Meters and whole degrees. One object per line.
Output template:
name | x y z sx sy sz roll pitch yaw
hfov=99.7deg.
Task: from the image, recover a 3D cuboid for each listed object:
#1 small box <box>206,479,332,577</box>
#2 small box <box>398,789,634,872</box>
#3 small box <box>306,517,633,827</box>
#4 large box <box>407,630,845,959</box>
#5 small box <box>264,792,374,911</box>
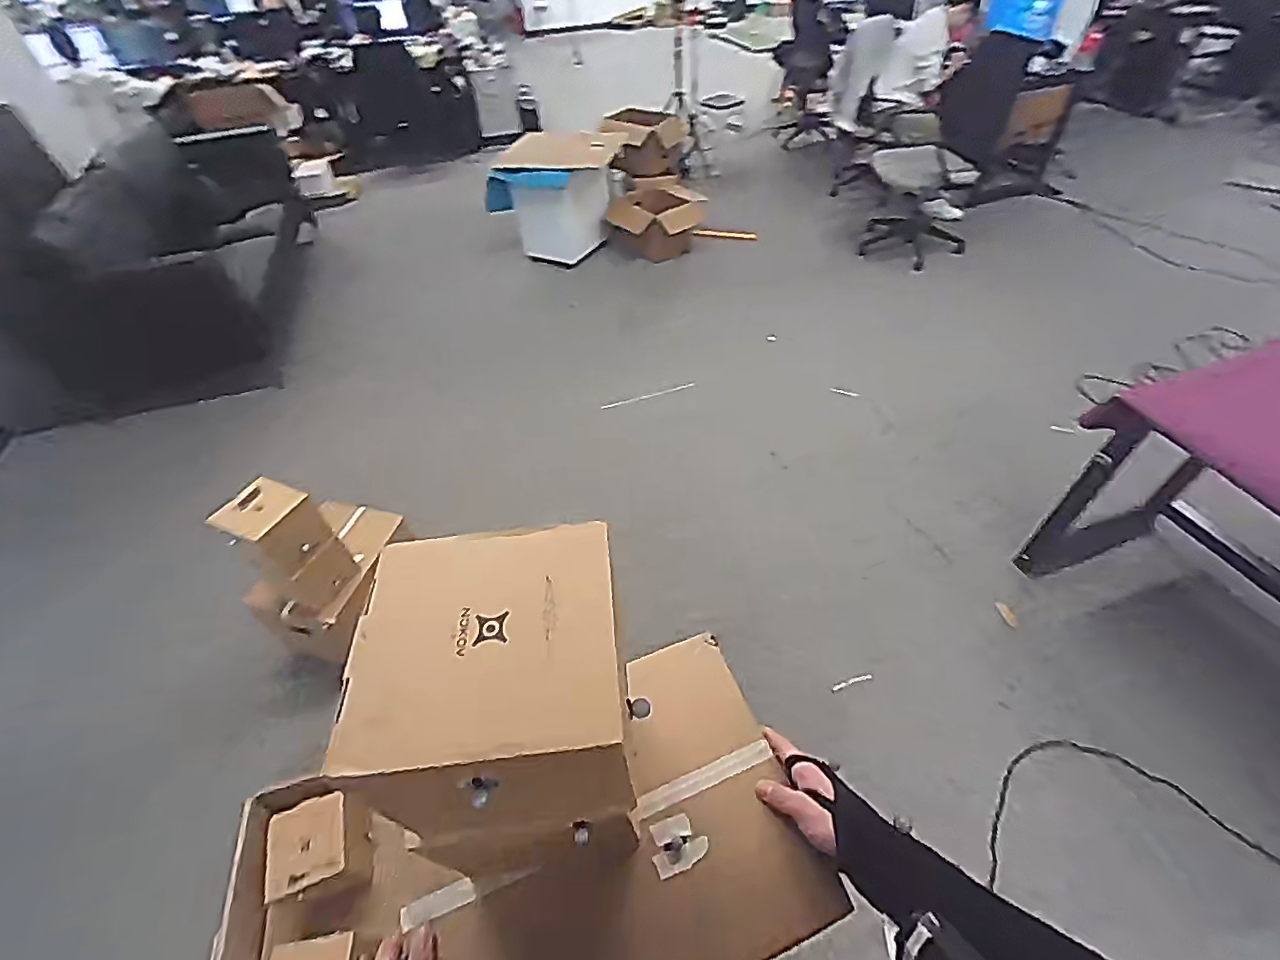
small box | -0.963 0.130 1.419 0.179 0.176 0.168 17 51 17
small box | -0.108 0.263 0.533 0.179 0.176 0.168 -9 47 -4
small box | -0.102 0.150 0.414 0.179 0.176 0.168 -5 48 -1
large box | -0.032 0.458 0.678 0.408 0.320 0.320 -18 50 -12
small box | -0.750 0.881 1.281 0.168 0.176 0.179 -18 48 -11
